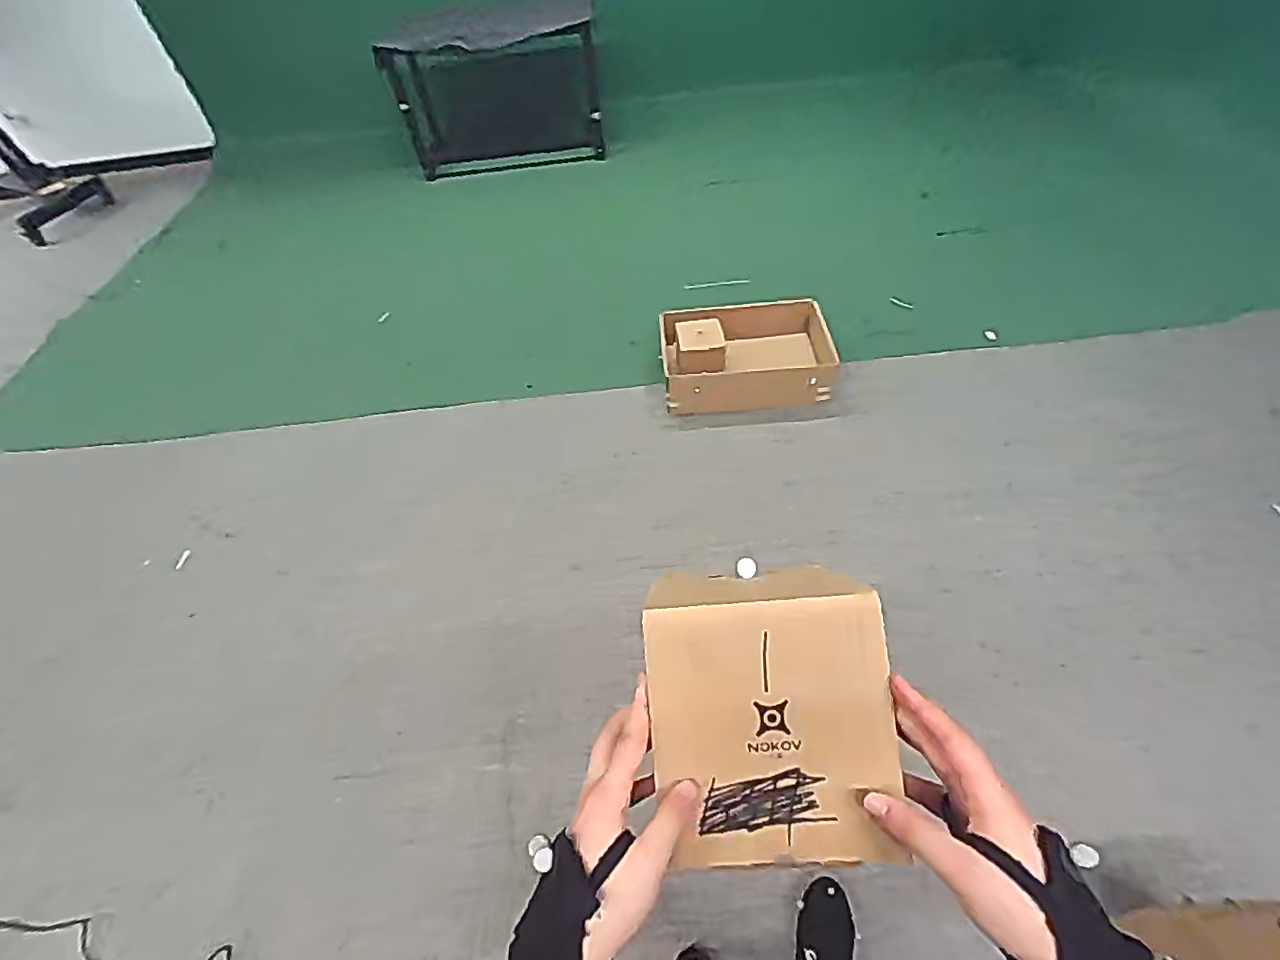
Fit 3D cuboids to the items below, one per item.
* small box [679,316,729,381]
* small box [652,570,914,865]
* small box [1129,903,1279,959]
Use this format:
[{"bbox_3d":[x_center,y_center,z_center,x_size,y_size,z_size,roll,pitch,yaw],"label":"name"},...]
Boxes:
[{"bbox_3d":[0.238,-0.499,2.060,0.168,0.176,0.179,-6,53,1],"label":"small box"},{"bbox_3d":[0.101,0.174,0.444,0.168,0.176,0.179,-4,86,4],"label":"small box"},{"bbox_3d":[0.955,0.785,0.859,0.179,0.176,0.168,-8,51,1],"label":"small box"}]
